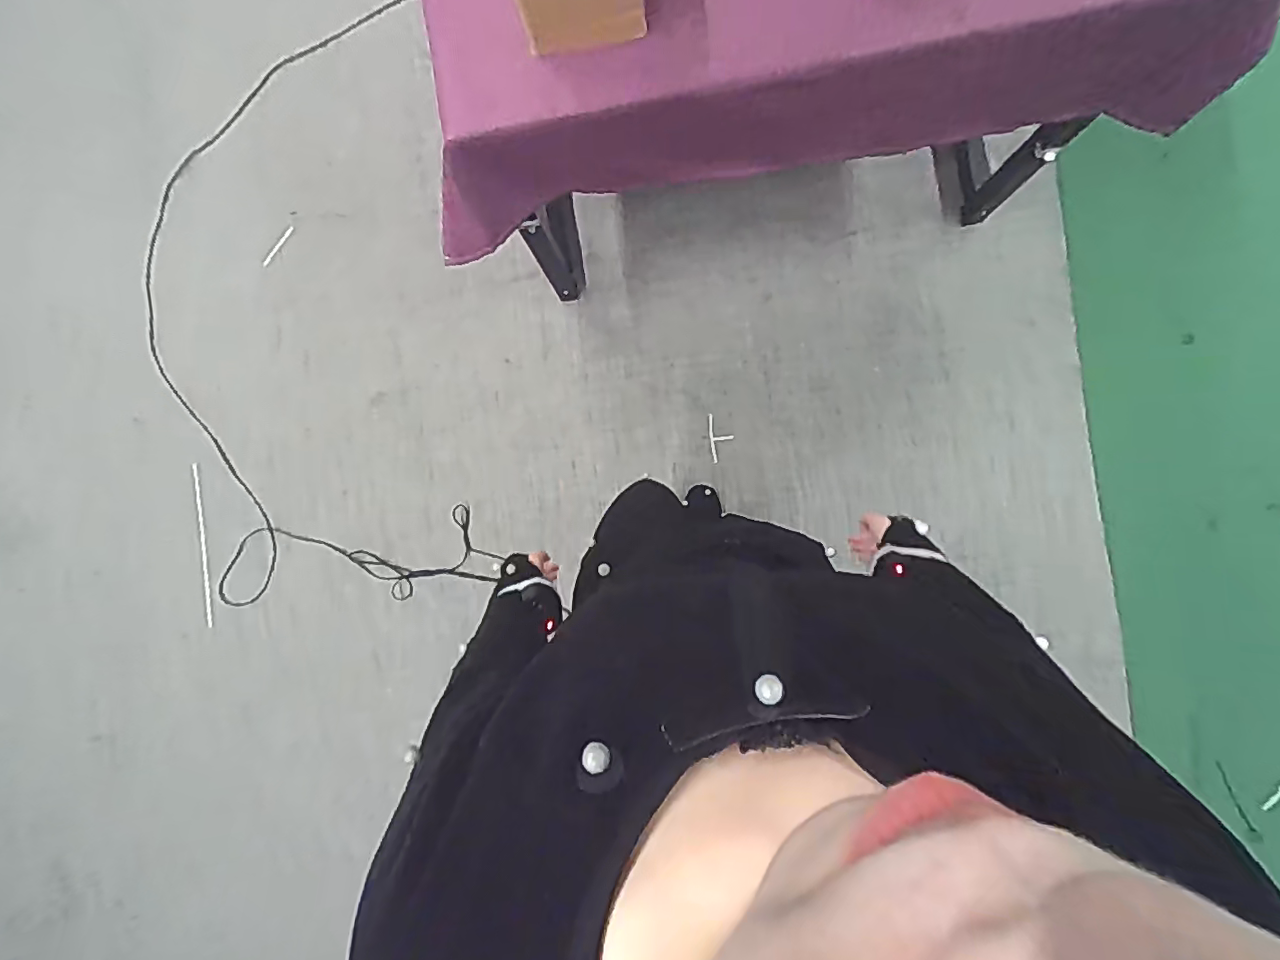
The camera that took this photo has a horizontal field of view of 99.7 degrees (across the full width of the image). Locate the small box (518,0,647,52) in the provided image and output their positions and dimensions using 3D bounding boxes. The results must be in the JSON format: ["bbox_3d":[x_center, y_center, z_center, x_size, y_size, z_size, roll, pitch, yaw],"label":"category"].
[{"bbox_3d":[-0.090,-0.732,0.735,0.179,0.176,0.168,-7,87,4],"label":"small box"}]
